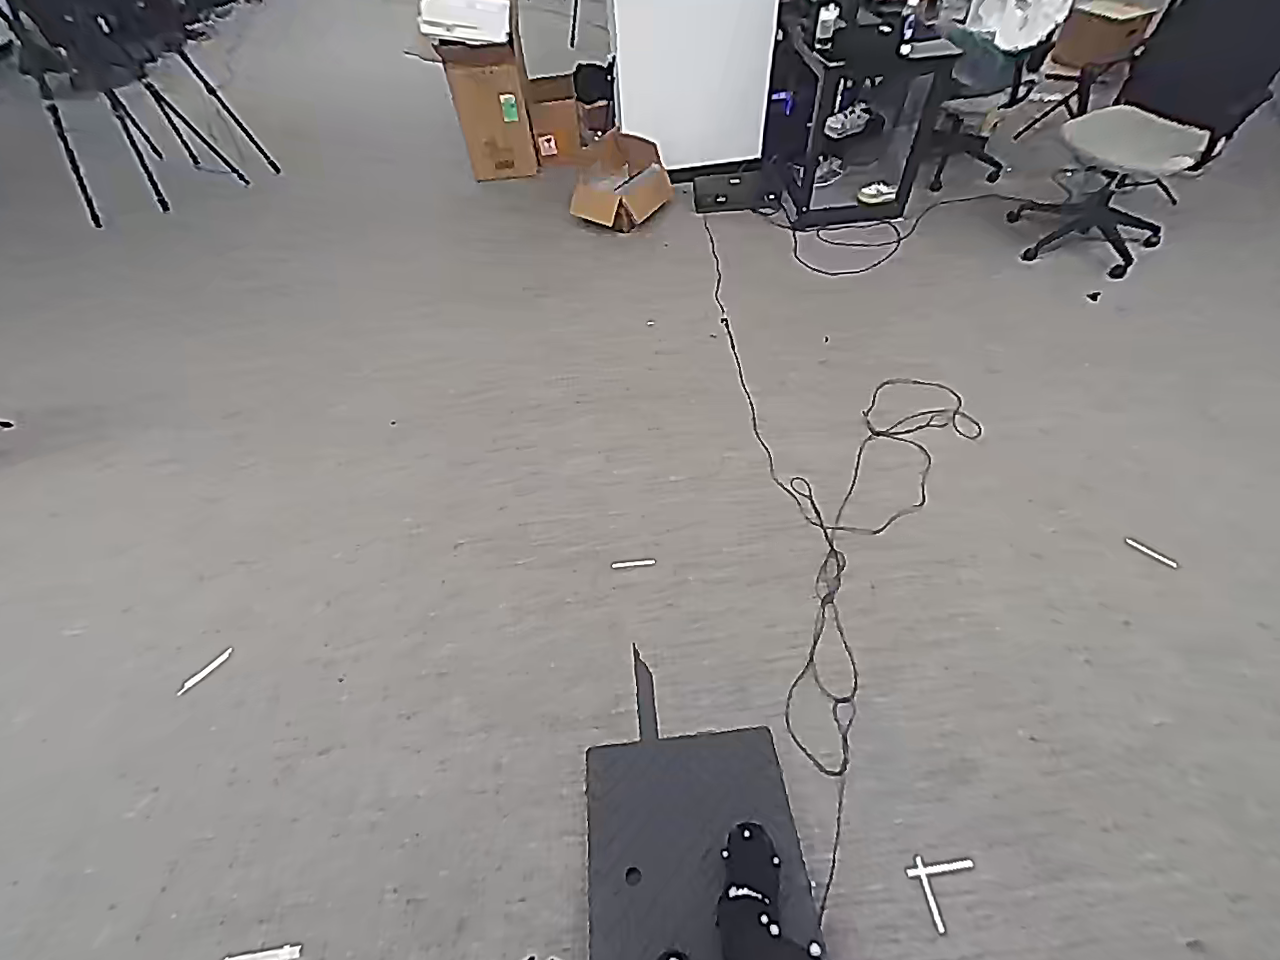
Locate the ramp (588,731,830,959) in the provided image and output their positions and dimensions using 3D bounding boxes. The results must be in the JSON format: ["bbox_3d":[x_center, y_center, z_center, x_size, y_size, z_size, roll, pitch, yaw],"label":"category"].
[{"bbox_3d":[0.146,1.033,1.068,0.509,0.206,0.991,-9,53,-1],"label":"ramp"}]
